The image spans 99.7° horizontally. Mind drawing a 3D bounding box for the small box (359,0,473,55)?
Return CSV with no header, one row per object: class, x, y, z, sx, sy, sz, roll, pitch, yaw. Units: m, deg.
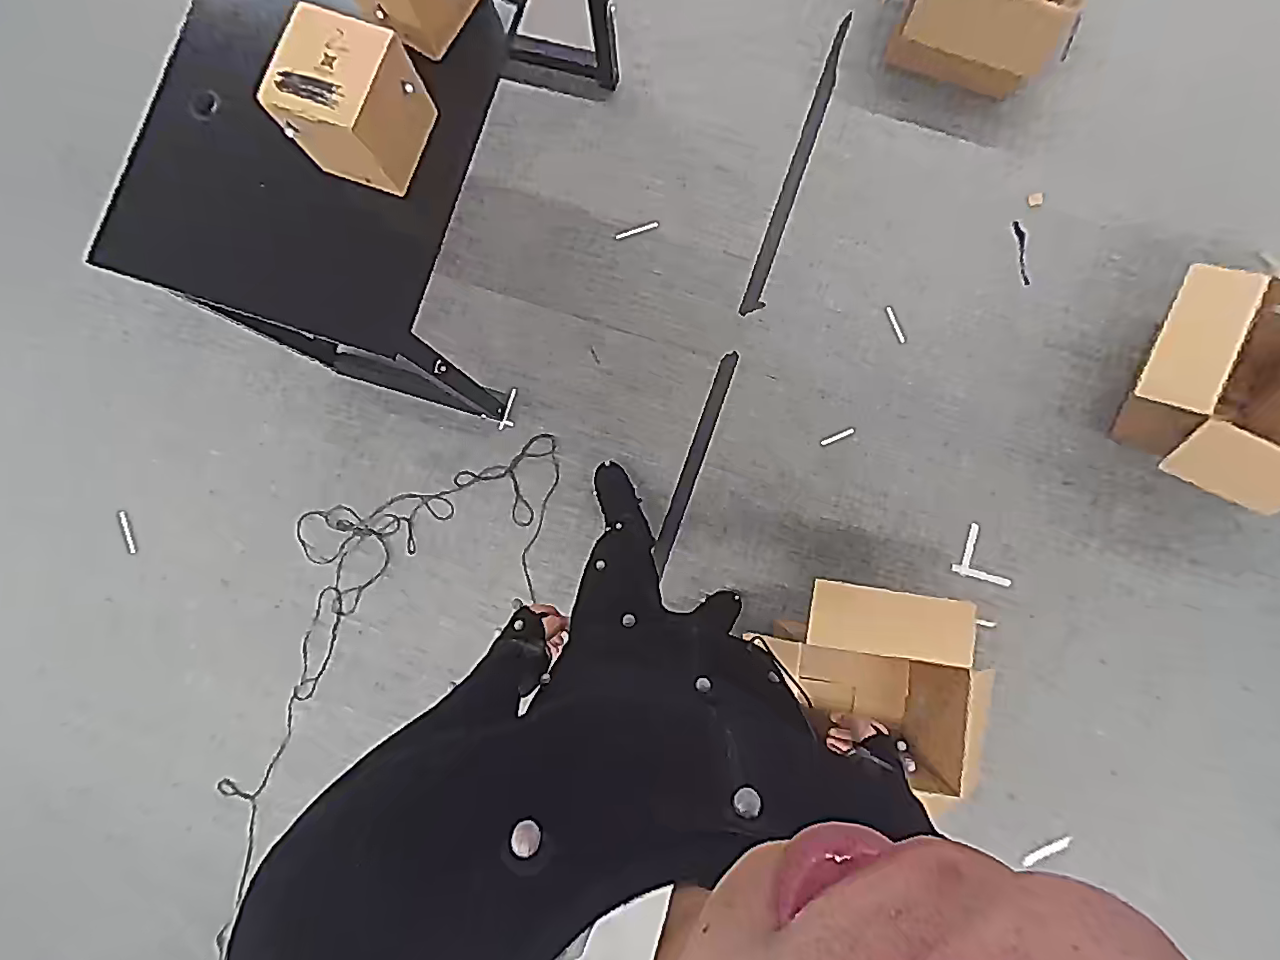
small box,-0.401,-0.893,0.920,0.168,0.176,0.179,31,88,5
